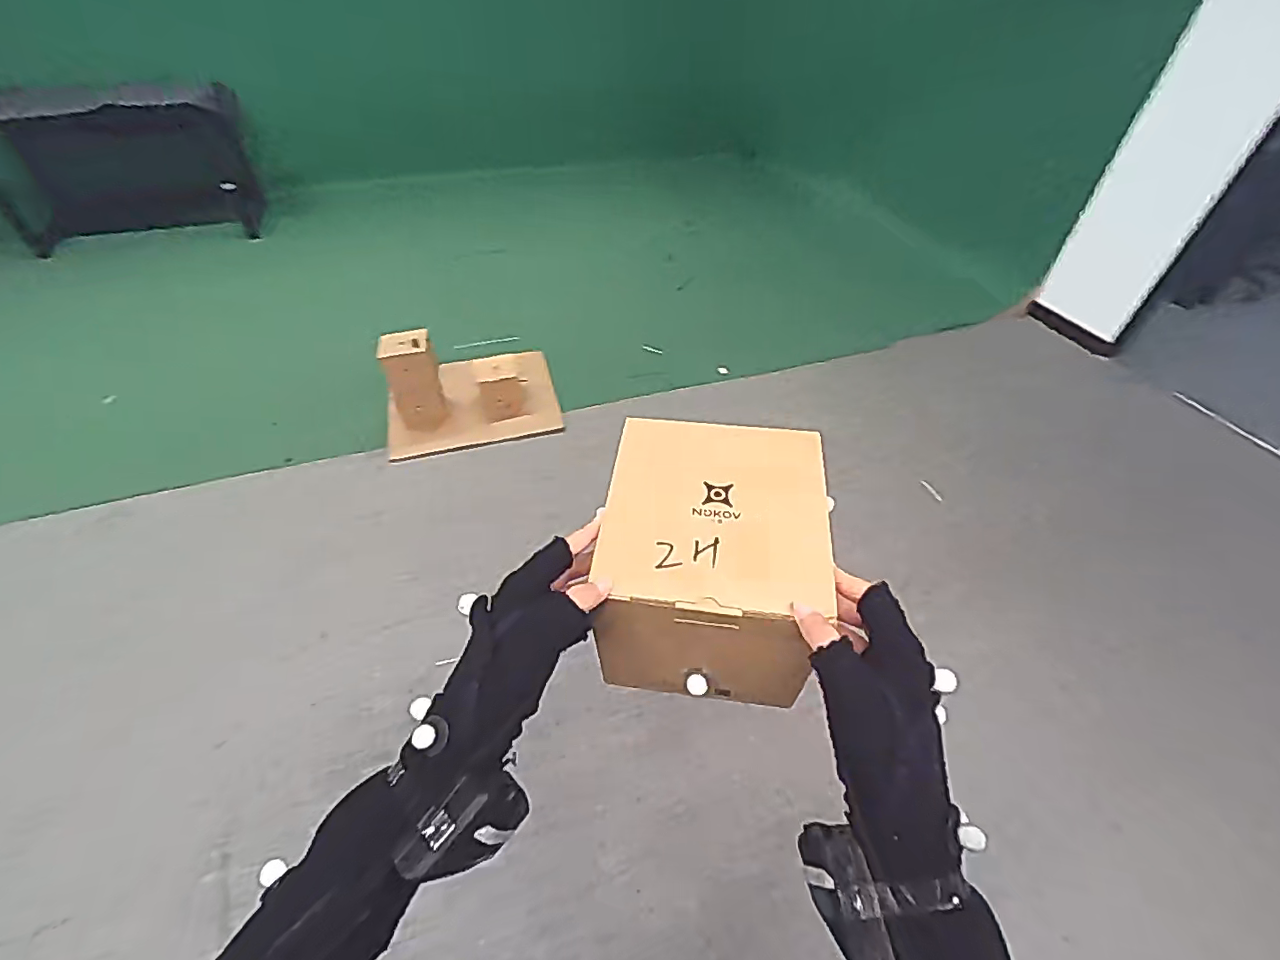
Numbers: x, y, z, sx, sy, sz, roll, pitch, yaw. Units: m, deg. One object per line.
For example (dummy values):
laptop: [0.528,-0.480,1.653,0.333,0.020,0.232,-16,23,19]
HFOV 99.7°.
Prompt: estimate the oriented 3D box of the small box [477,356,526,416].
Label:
small box: [-0.589,-0.399,2.298,0.168,0.176,0.179,-13,48,-13]

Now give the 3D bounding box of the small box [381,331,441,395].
small box: [-0.887,-0.456,2.116,0.179,0.176,0.168,-11,47,-8]
